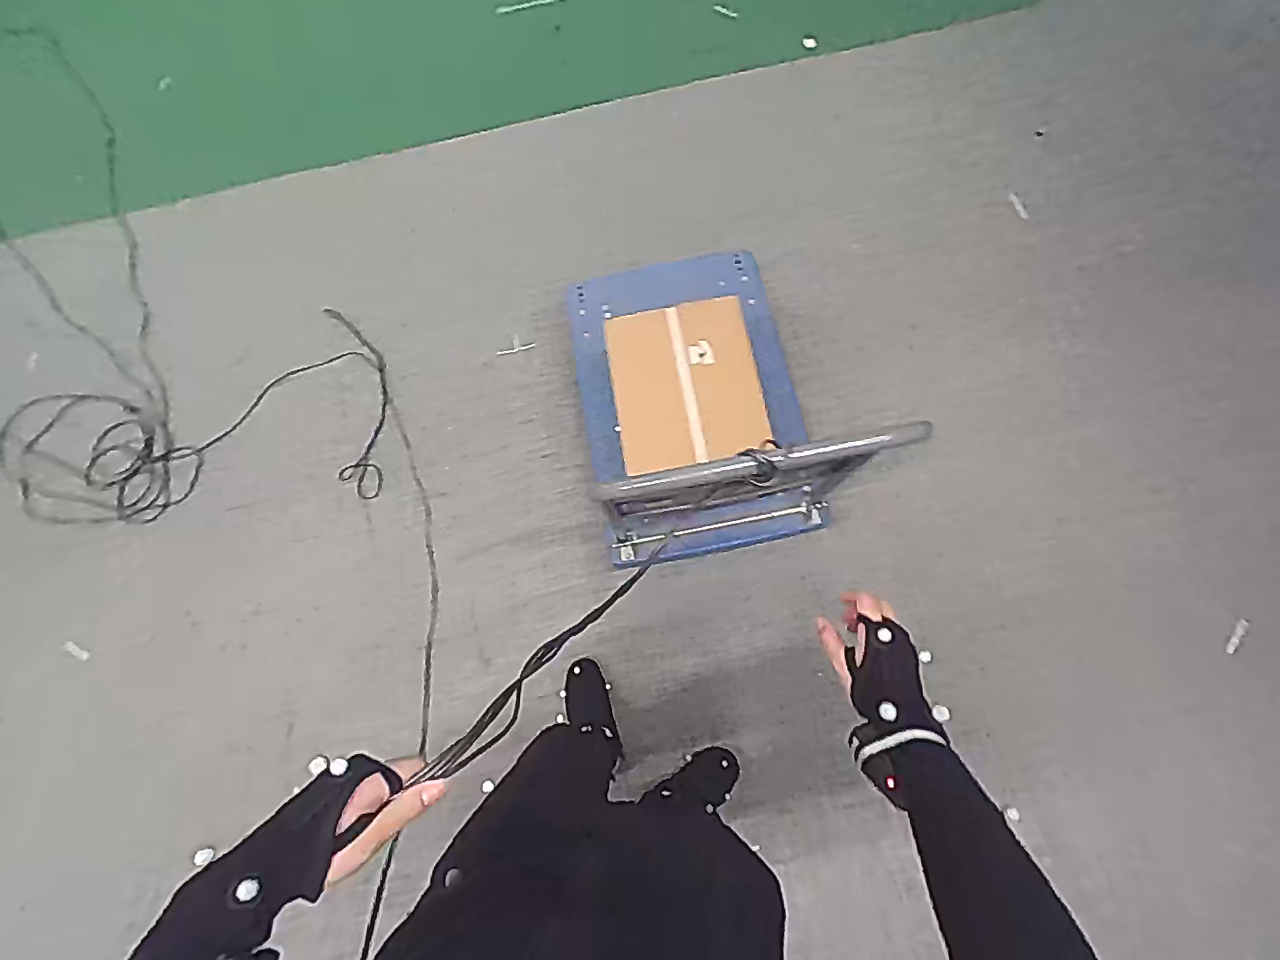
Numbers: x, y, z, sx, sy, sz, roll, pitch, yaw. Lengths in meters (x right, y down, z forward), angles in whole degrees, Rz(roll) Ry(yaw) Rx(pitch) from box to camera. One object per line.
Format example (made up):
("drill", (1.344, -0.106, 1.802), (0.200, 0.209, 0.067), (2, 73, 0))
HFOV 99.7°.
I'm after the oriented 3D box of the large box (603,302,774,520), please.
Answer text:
("large box", (0.109, -0.151, 1.317), (0.320, 0.320, 0.408), (-9, 72, 1))
